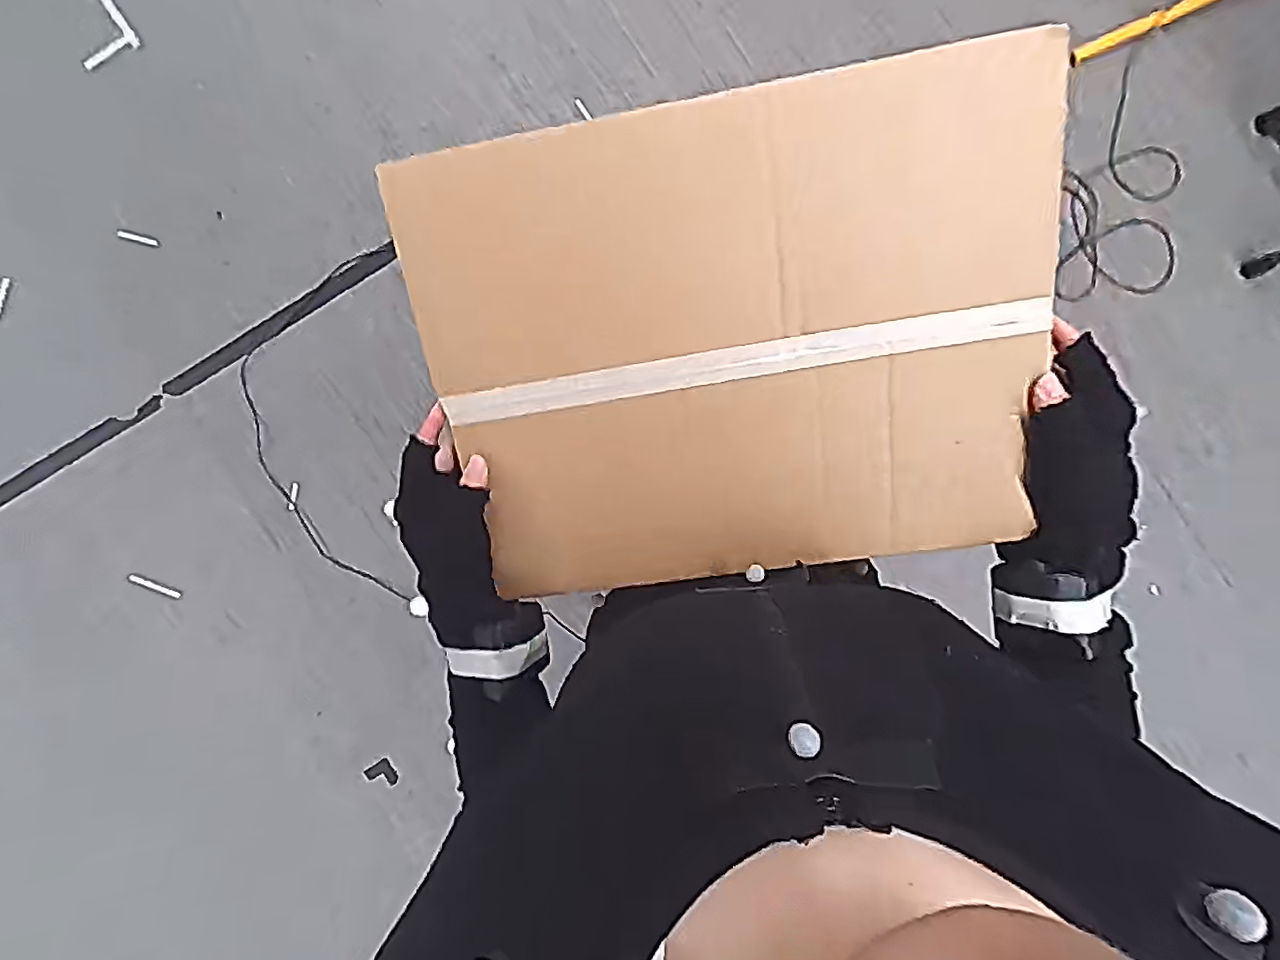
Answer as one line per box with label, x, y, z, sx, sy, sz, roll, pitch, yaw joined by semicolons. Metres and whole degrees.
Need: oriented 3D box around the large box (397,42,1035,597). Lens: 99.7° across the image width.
large box;0.066;-0.123;0.516;0.408;0.320;0.320;-9;108;6
